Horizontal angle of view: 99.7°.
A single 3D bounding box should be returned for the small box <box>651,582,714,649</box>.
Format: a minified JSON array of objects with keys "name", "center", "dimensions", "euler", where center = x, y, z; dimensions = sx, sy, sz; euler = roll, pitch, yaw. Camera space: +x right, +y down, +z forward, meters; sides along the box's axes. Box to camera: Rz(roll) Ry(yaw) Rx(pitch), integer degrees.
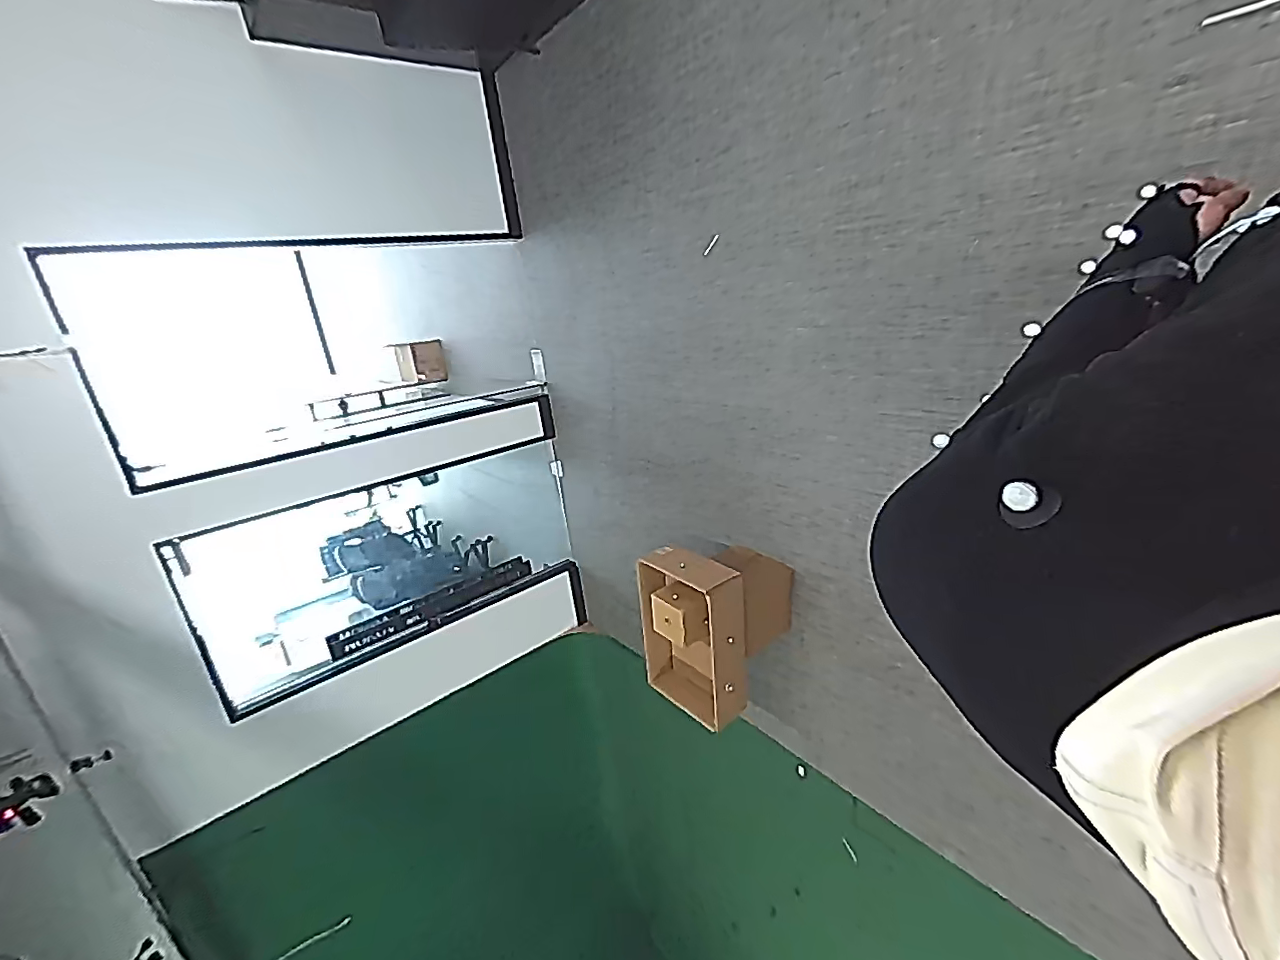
[{"name":"small box","center":[0.163,0.507,2.063],"dimensions":[0.179,0.176,0.168],"euler":[19,120,47]}]
